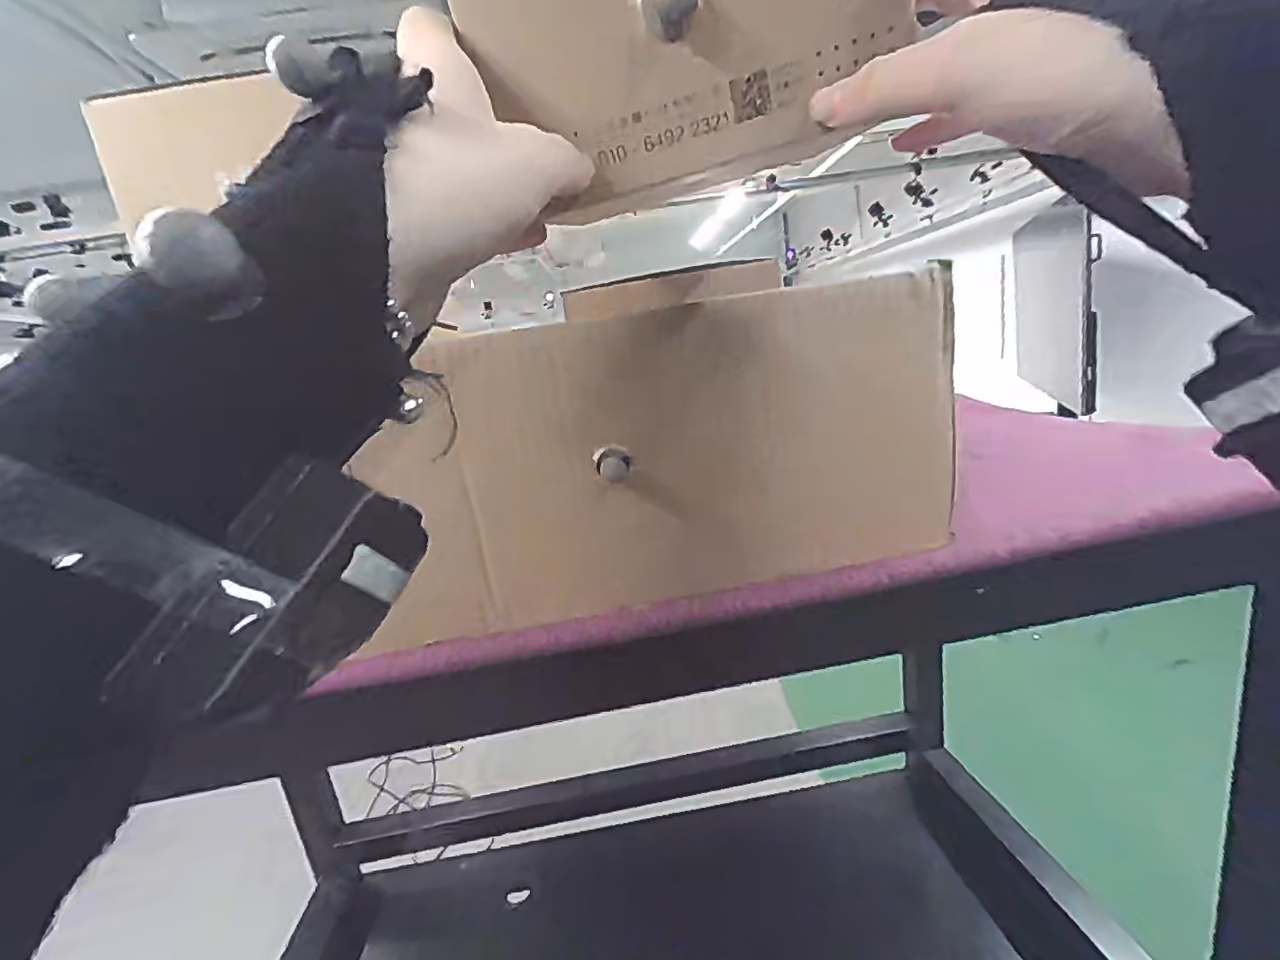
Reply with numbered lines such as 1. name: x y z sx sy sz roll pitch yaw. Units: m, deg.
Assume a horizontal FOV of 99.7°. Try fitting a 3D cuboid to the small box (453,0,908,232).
1. small box: 0.011 -0.228 0.259 0.168 0.176 0.179 -12 25 10
